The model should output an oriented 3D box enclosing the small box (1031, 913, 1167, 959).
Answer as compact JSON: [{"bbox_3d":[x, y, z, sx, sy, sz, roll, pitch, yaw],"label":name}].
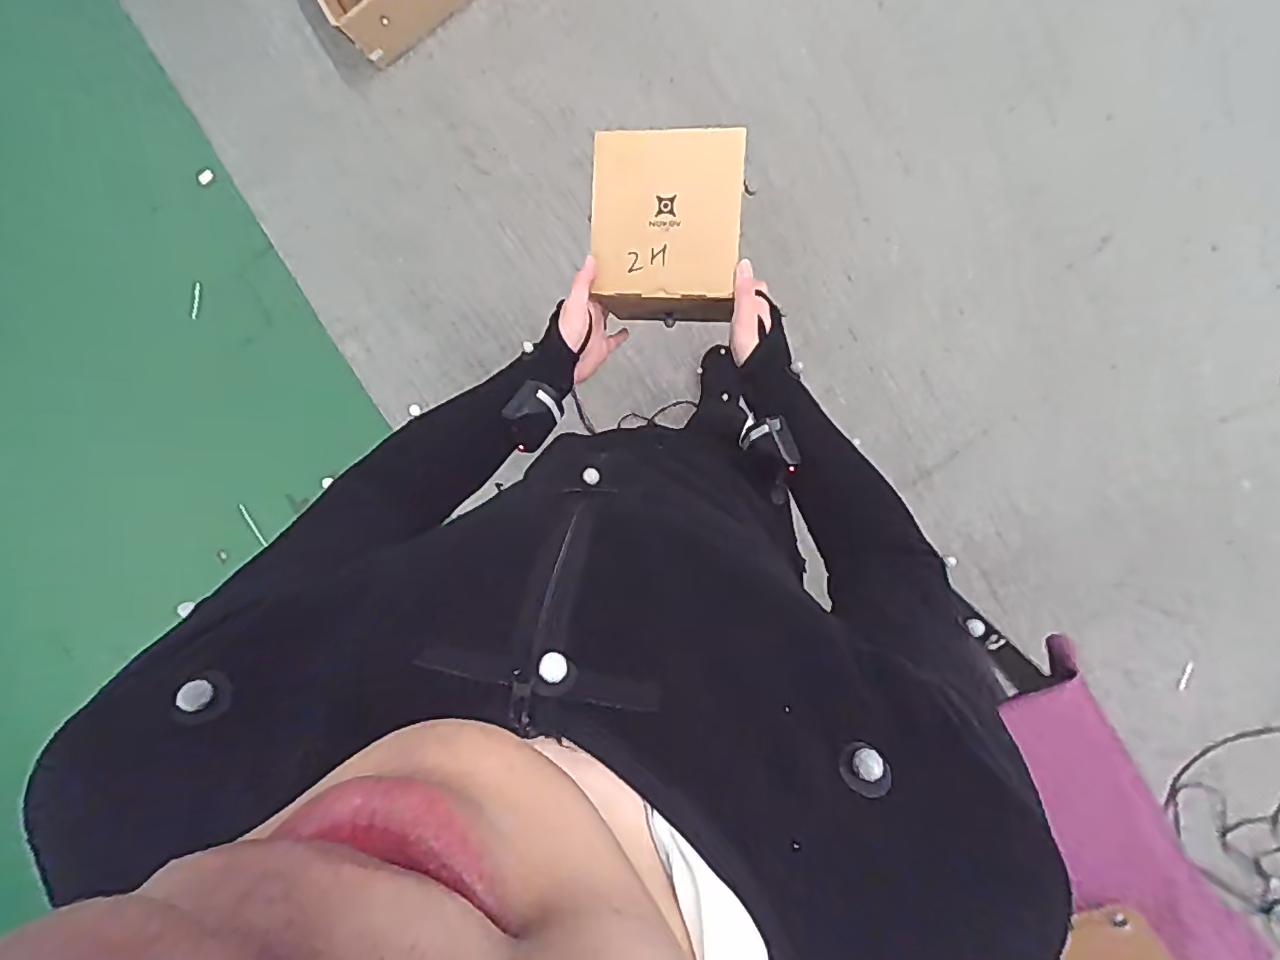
[{"bbox_3d":[0.771,0.834,0.854,0.168,0.176,0.179,-28,95,13],"label":"small box"}]

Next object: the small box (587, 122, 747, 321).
[{"bbox_3d":[0.038,-0.303,0.664,0.168,0.176,0.179,4,97,9],"label":"small box"}]
